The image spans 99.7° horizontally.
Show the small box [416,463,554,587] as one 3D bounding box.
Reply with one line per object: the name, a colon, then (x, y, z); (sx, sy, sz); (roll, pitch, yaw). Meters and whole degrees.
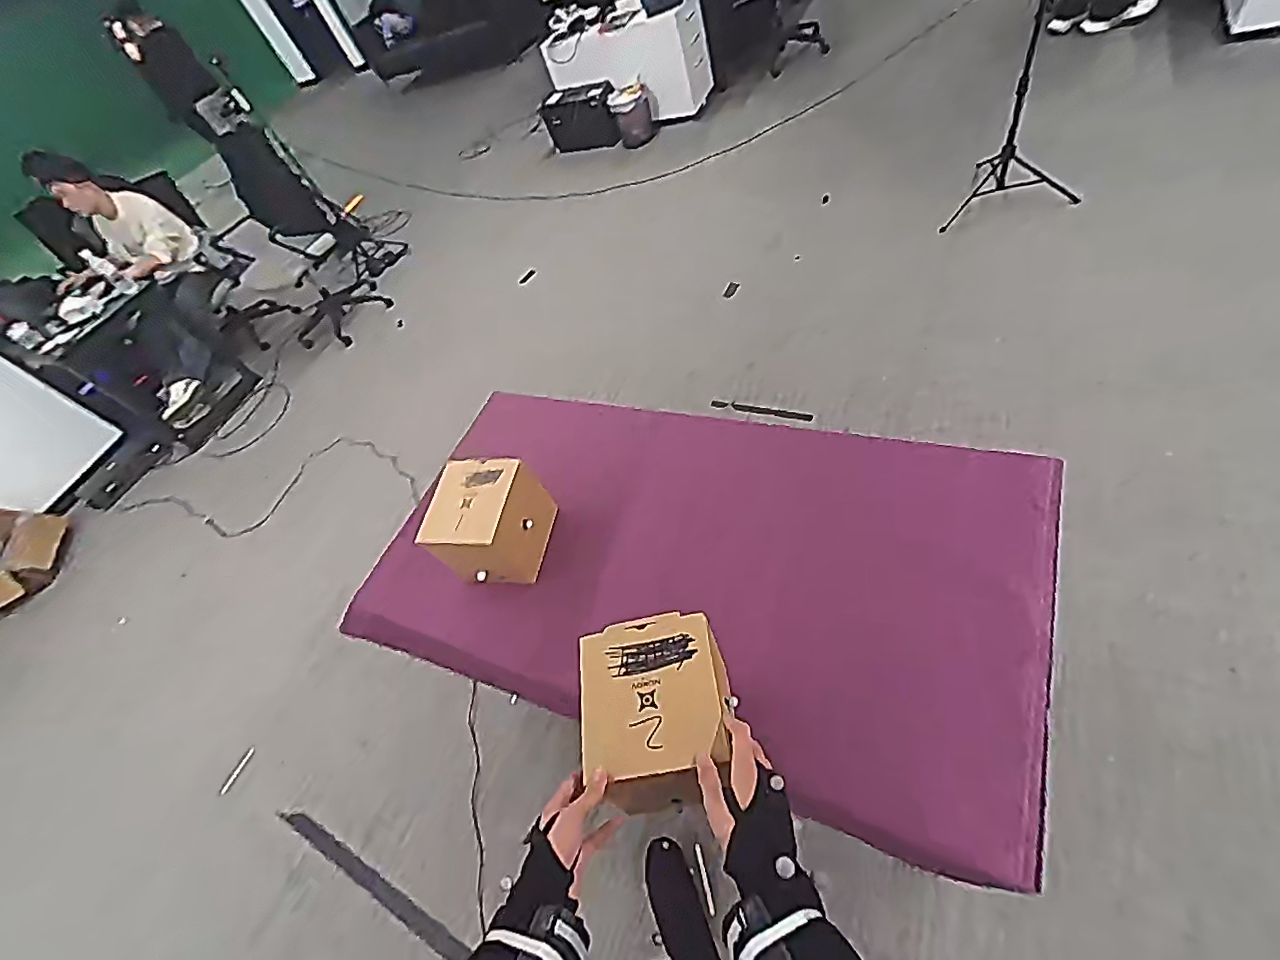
small box: (-0.282, 0.086, 1.032); (0.168, 0.176, 0.179); (-1, 56, 21)
